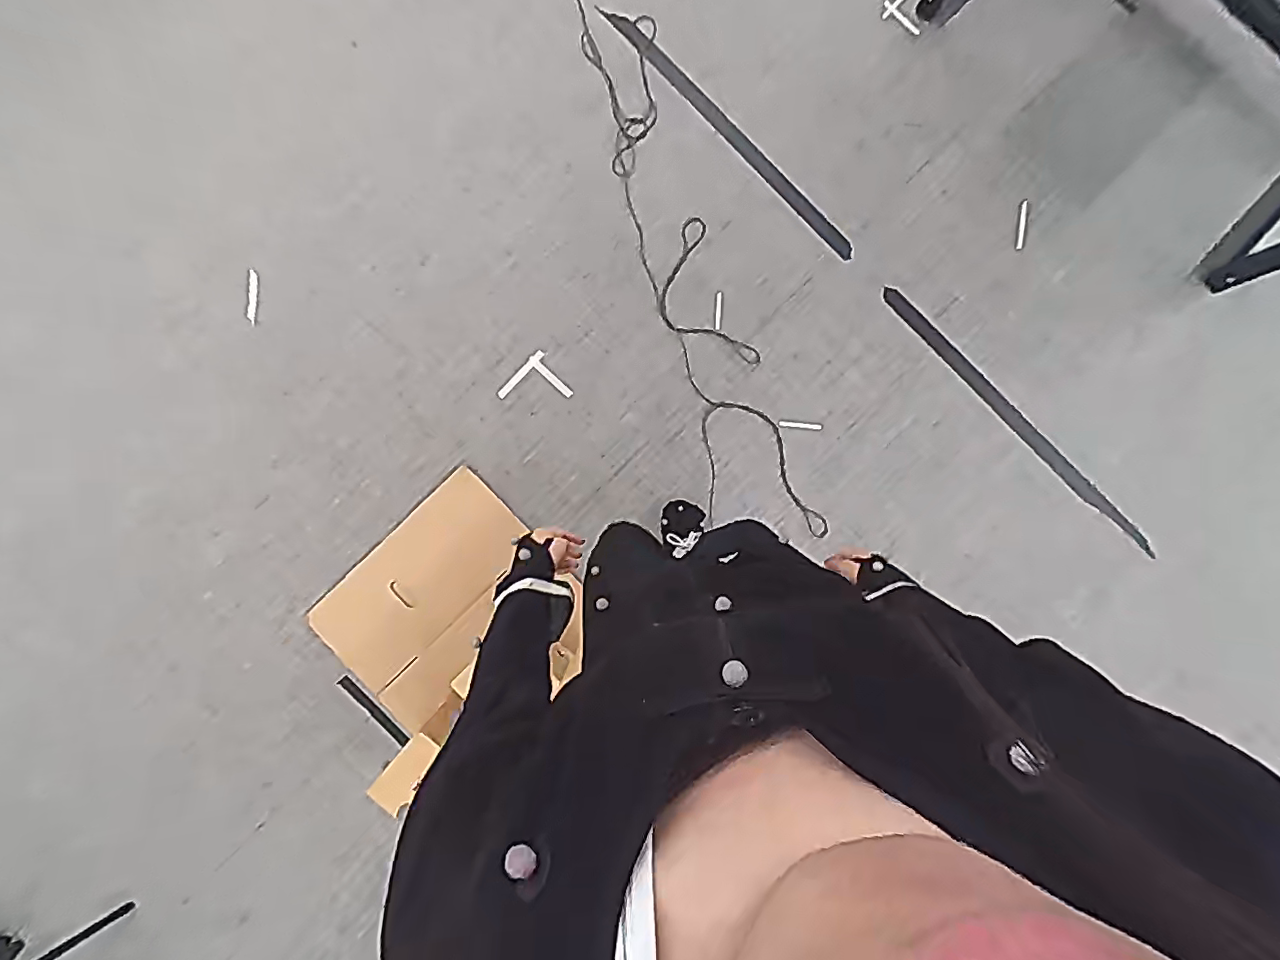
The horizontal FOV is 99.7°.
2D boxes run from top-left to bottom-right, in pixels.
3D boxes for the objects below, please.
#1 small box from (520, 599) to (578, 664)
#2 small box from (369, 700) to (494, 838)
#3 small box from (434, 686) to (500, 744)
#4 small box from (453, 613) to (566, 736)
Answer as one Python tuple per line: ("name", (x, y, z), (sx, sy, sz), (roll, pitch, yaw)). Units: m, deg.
("small box", (-0.273, 0.429, 1.391), (0.168, 0.176, 0.179), (43, 89, 2))
("small box", (-0.456, 0.638, 1.216), (0.168, 0.176, 0.179), (40, 88, 0))
("small box", (-0.460, 0.640, 1.380), (0.168, 0.176, 0.179), (38, 87, 1))
("small box", (-0.283, 0.429, 1.227), (0.179, 0.176, 0.168), (-43, 88, -1))
